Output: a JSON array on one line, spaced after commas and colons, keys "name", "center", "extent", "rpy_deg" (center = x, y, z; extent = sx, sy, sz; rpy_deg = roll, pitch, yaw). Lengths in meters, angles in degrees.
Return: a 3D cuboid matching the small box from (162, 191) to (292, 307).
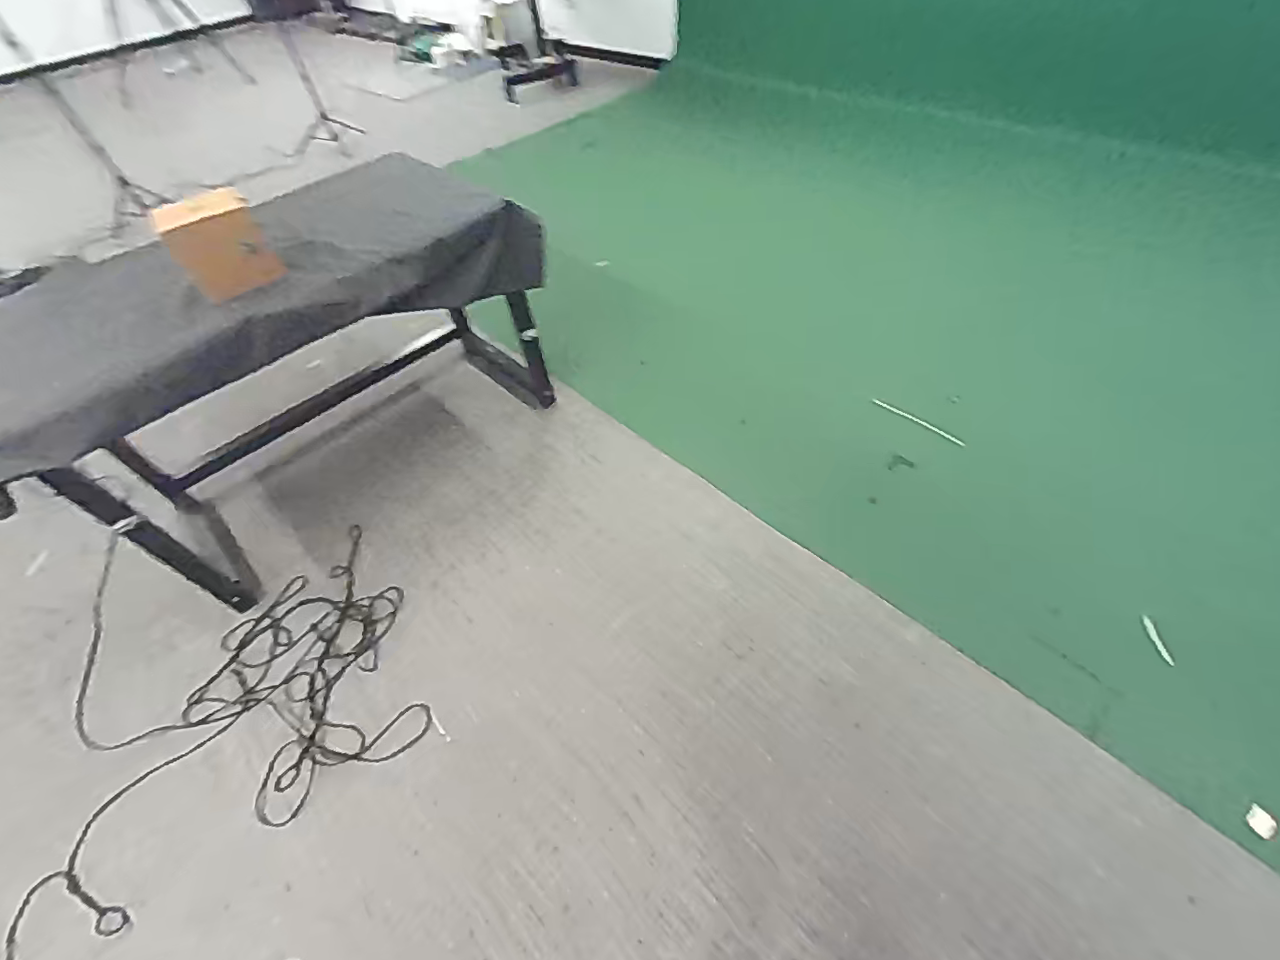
[{"name": "small box", "center": [-0.937, -0.531, 1.244], "extent": [0.179, 0.176, 0.168], "rpy_deg": [-33, 53, -19]}]
